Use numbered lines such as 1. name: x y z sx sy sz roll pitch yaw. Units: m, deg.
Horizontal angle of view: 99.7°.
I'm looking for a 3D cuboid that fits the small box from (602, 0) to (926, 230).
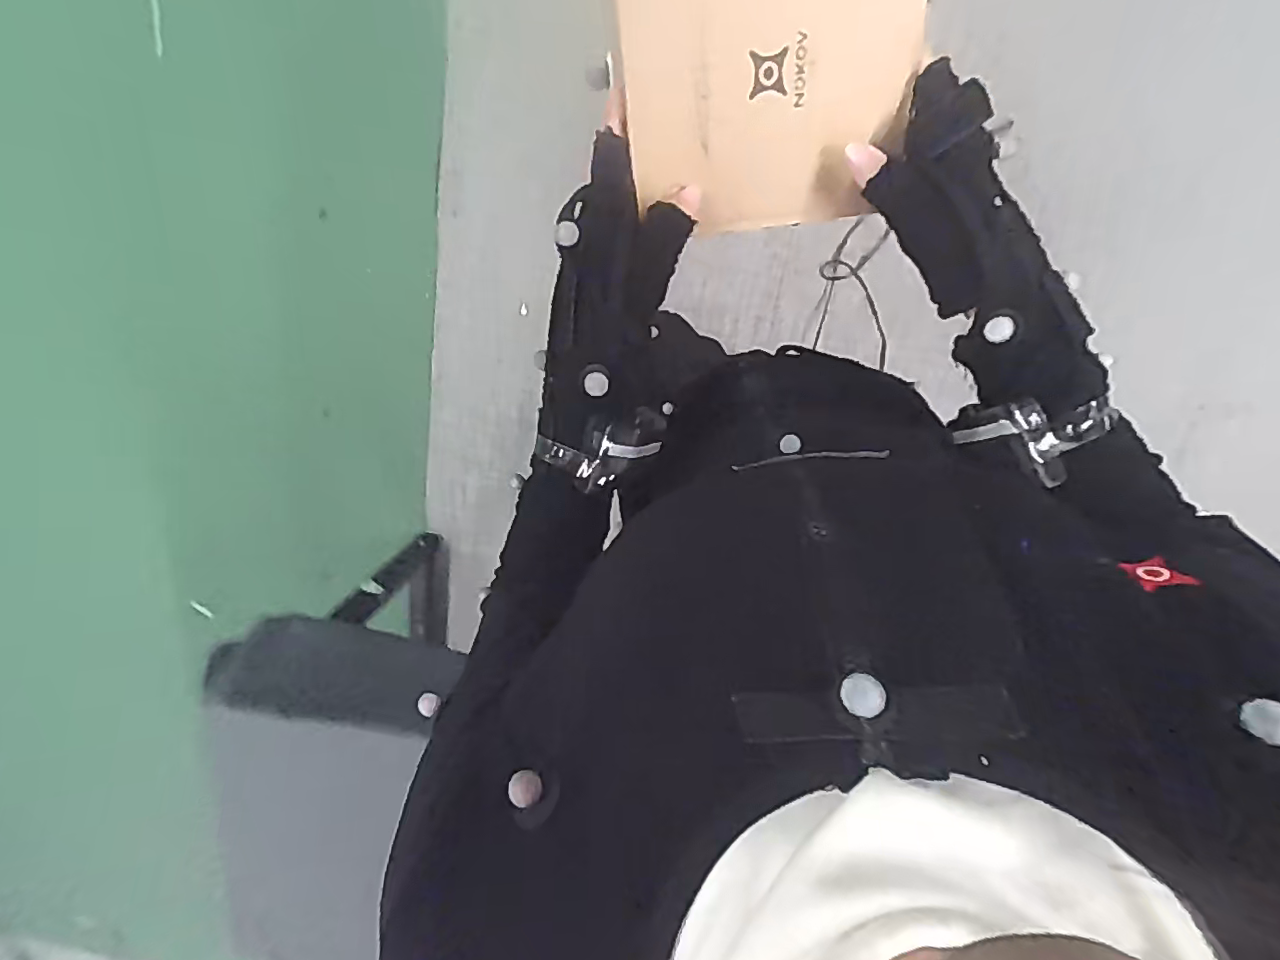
1. small box: 0.069 -0.285 0.377 0.179 0.176 0.168 -7 123 0
